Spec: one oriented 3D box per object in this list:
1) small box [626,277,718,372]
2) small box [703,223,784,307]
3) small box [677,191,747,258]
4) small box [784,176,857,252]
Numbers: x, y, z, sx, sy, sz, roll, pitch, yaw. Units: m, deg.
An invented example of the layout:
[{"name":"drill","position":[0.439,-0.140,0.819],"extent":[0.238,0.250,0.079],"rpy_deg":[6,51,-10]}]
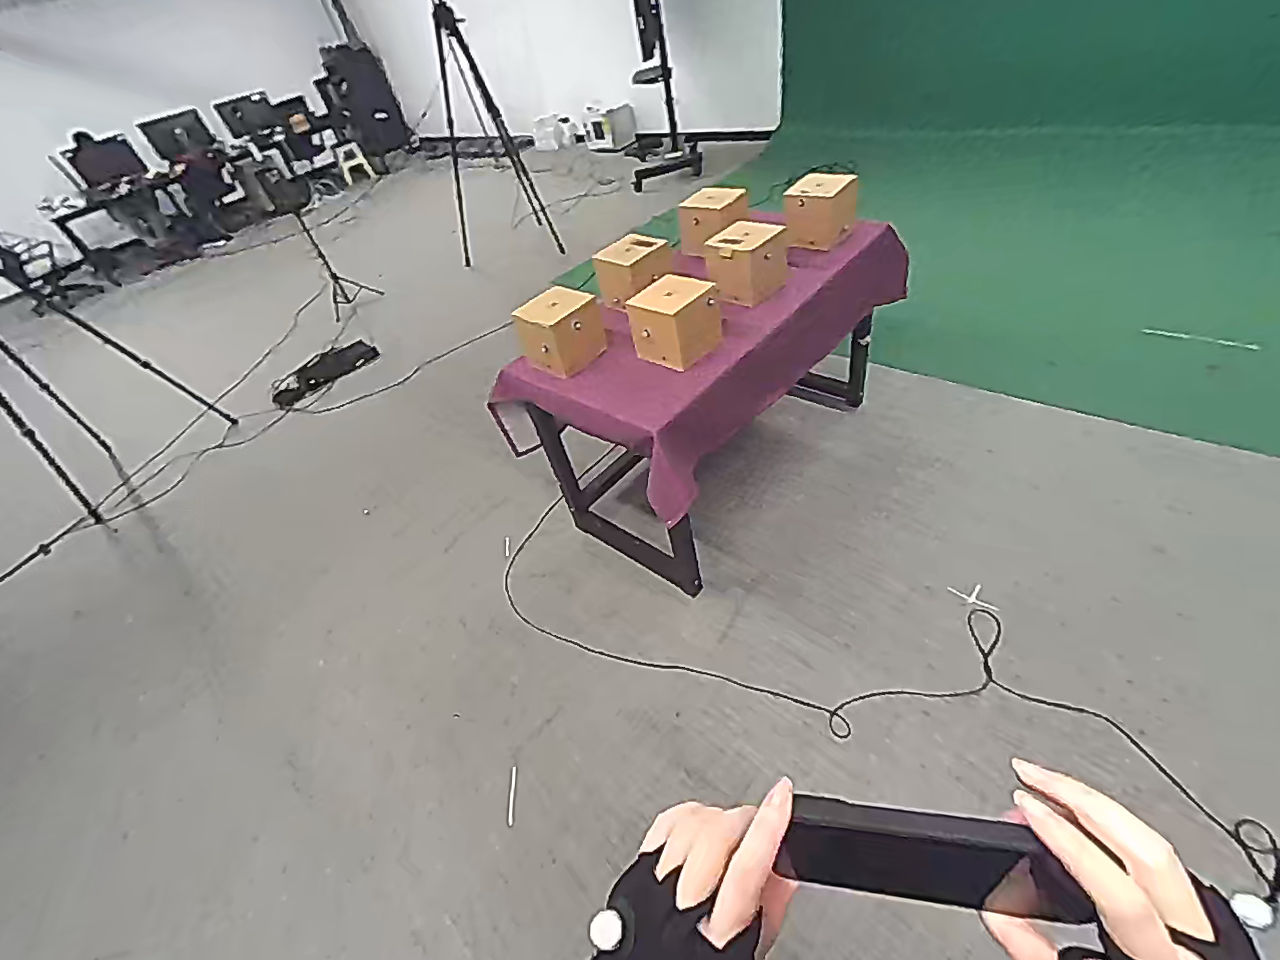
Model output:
[{"name":"small box","position":[0.093,-0.410,1.429],"extent":[0.168,0.176,0.179],"rpy_deg":[27,56,36]},{"name":"small box","position":[0.311,-0.632,1.594],"extent":[0.168,0.176,0.179],"rpy_deg":[29,58,37]},{"name":"small box","position":[0.251,-0.876,1.860],"extent":[0.179,0.176,0.168],"rpy_deg":[24,56,33]},{"name":"small box","position":[0.580,-0.865,1.756],"extent":[0.168,0.176,0.179],"rpy_deg":[25,56,35]}]
